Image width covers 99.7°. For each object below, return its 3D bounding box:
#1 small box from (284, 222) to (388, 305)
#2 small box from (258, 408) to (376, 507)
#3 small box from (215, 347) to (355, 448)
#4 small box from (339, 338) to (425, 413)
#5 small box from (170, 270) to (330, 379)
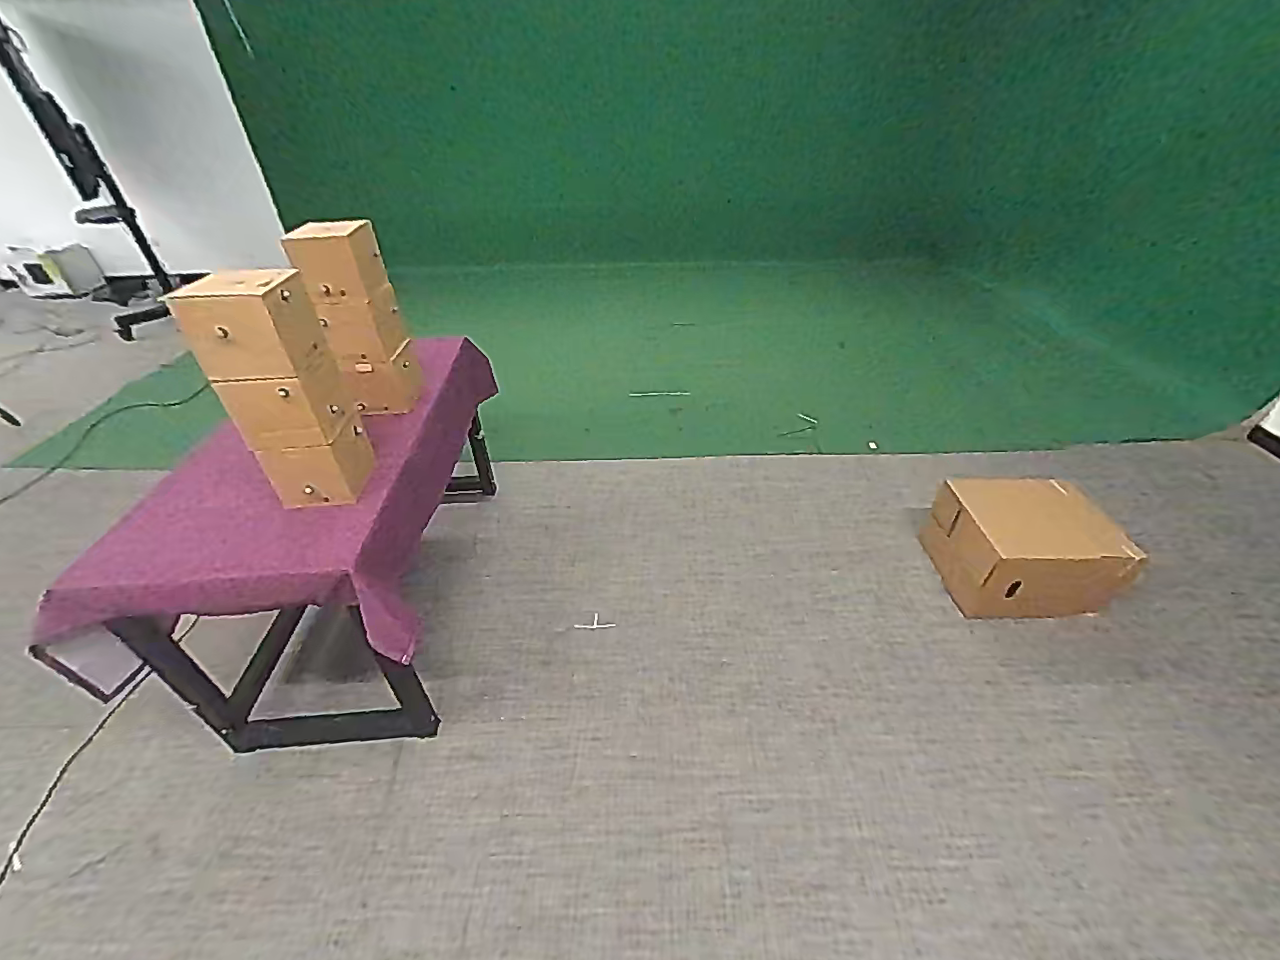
[{"bbox_3d":[-0.798,-0.579,1.445,0.168,0.176,0.179,-4,37,-1],"label":"small box"},{"bbox_3d":[-0.761,-0.055,1.298,0.168,0.176,0.179,-4,37,-2],"label":"small box"},{"bbox_3d":[-0.771,-0.182,1.197,0.179,0.176,0.168,-3,37,-3],"label":"small box"},{"bbox_3d":[-0.772,-0.312,1.635,0.168,0.176,0.179,-2,37,0],"label":"small box"},{"bbox_3d":[-0.774,-0.313,1.098,0.179,0.176,0.168,-3,37,-2],"label":"small box"}]
